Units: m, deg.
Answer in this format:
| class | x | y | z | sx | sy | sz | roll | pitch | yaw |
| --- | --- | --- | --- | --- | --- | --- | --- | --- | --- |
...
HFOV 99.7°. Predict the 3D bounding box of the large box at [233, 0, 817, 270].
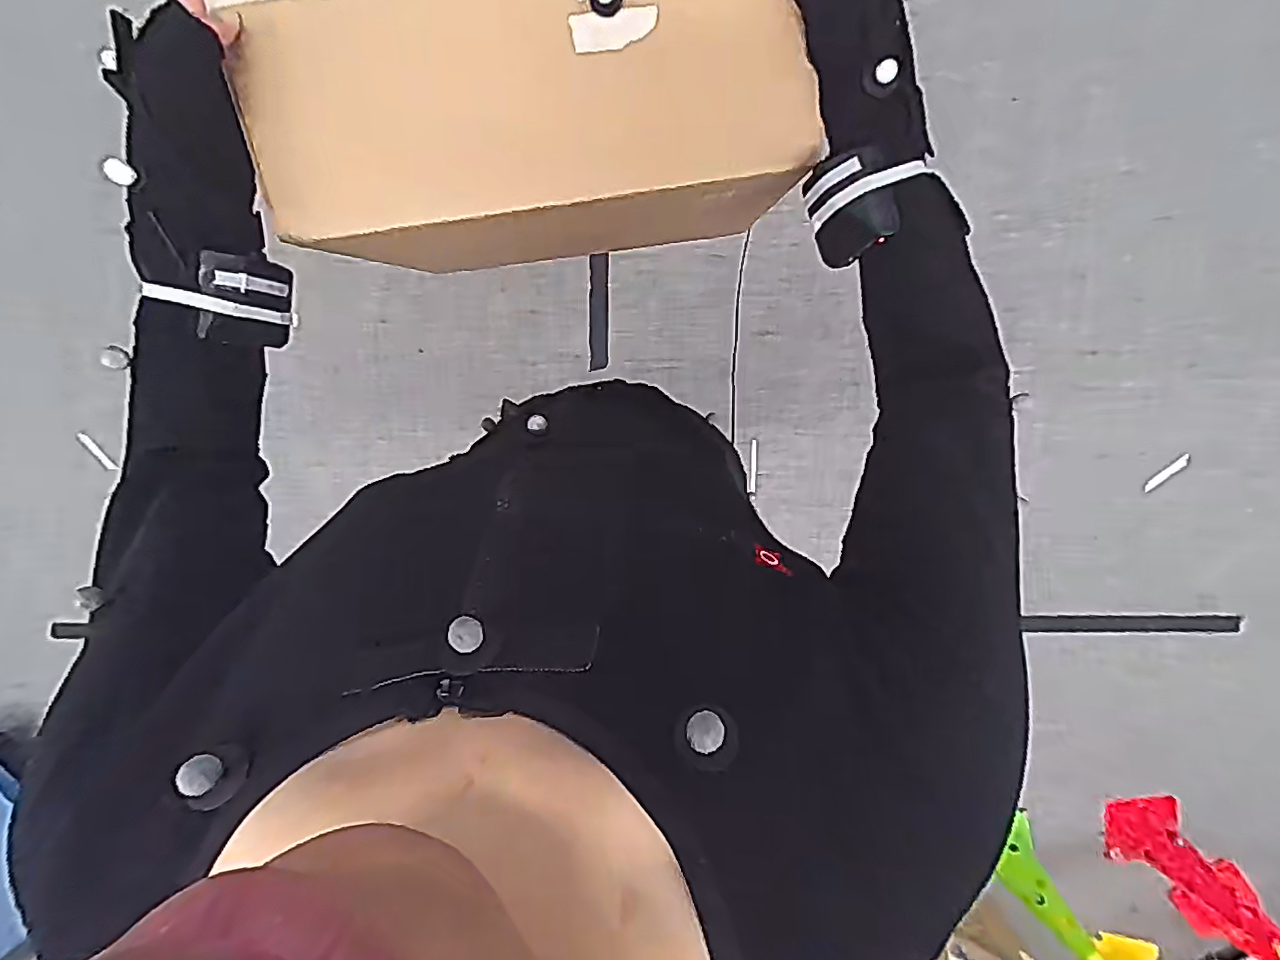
| class | x | y | z | sx | sy | sz | roll | pitch | yaw |
| --- | --- | --- | --- | --- | --- | --- | --- | --- | --- |
| large box | -0.086 | -0.400 | 0.507 | 0.408 | 0.320 | 0.320 | -7 | 107 | 3 |
